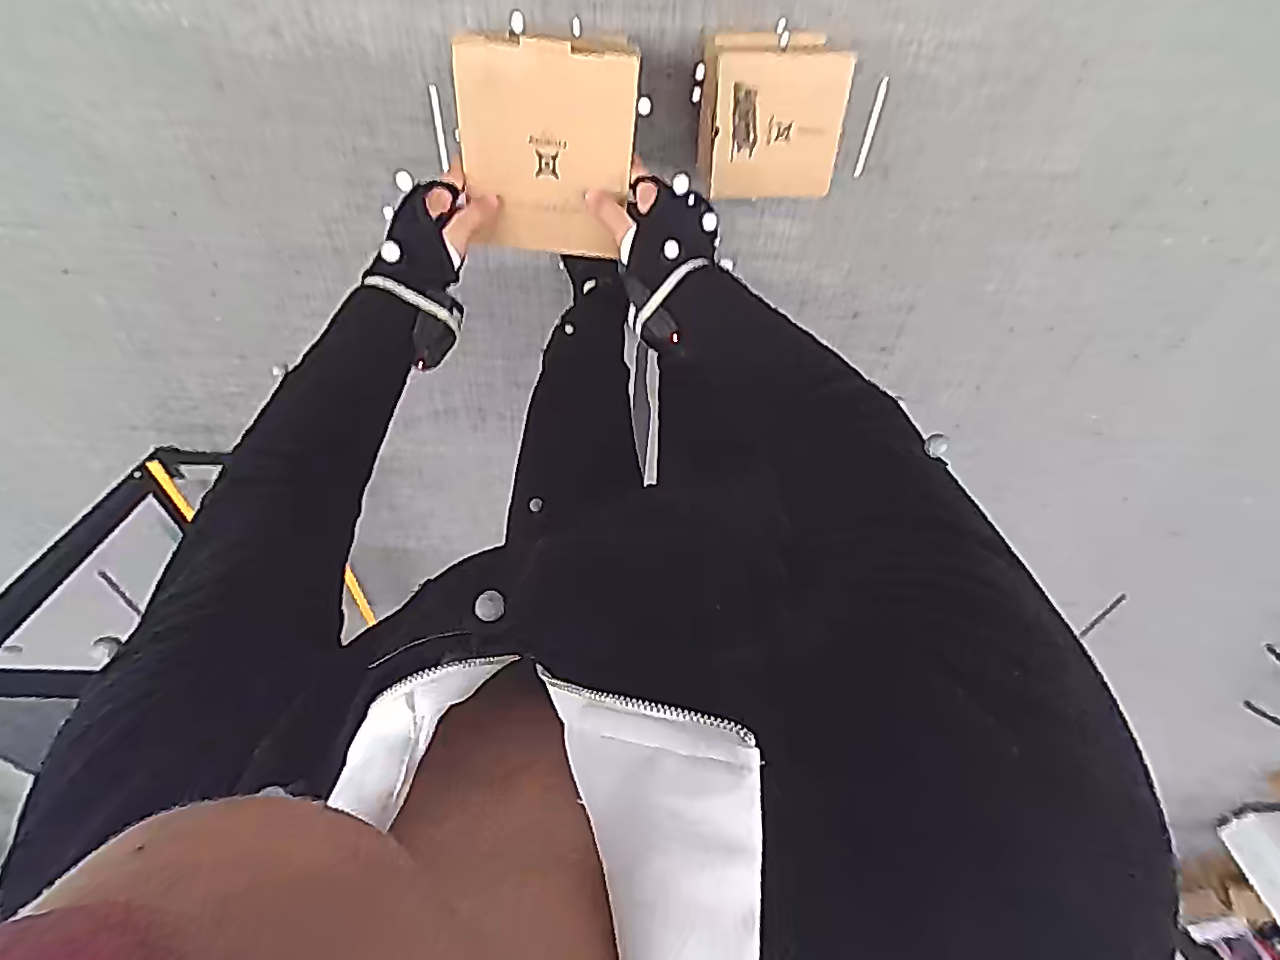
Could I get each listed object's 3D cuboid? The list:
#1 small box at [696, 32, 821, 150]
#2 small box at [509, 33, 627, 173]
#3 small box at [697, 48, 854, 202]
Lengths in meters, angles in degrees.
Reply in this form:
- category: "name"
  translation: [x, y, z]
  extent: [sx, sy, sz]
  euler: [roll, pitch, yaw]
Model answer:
- category: "small box"
  translation: [0.186, -0.631, 0.908]
  extent: [0.168, 0.176, 0.179]
  euler: [0, 133, 0]
- category: "small box"
  translation: [-0.113, -0.631, 0.902]
  extent: [0.179, 0.176, 0.168]
  euler: [3, 132, -3]
- category: "small box"
  translation: [0.180, -0.517, 0.788]
  extent: [0.179, 0.176, 0.168]
  euler: [-1, 132, -1]
